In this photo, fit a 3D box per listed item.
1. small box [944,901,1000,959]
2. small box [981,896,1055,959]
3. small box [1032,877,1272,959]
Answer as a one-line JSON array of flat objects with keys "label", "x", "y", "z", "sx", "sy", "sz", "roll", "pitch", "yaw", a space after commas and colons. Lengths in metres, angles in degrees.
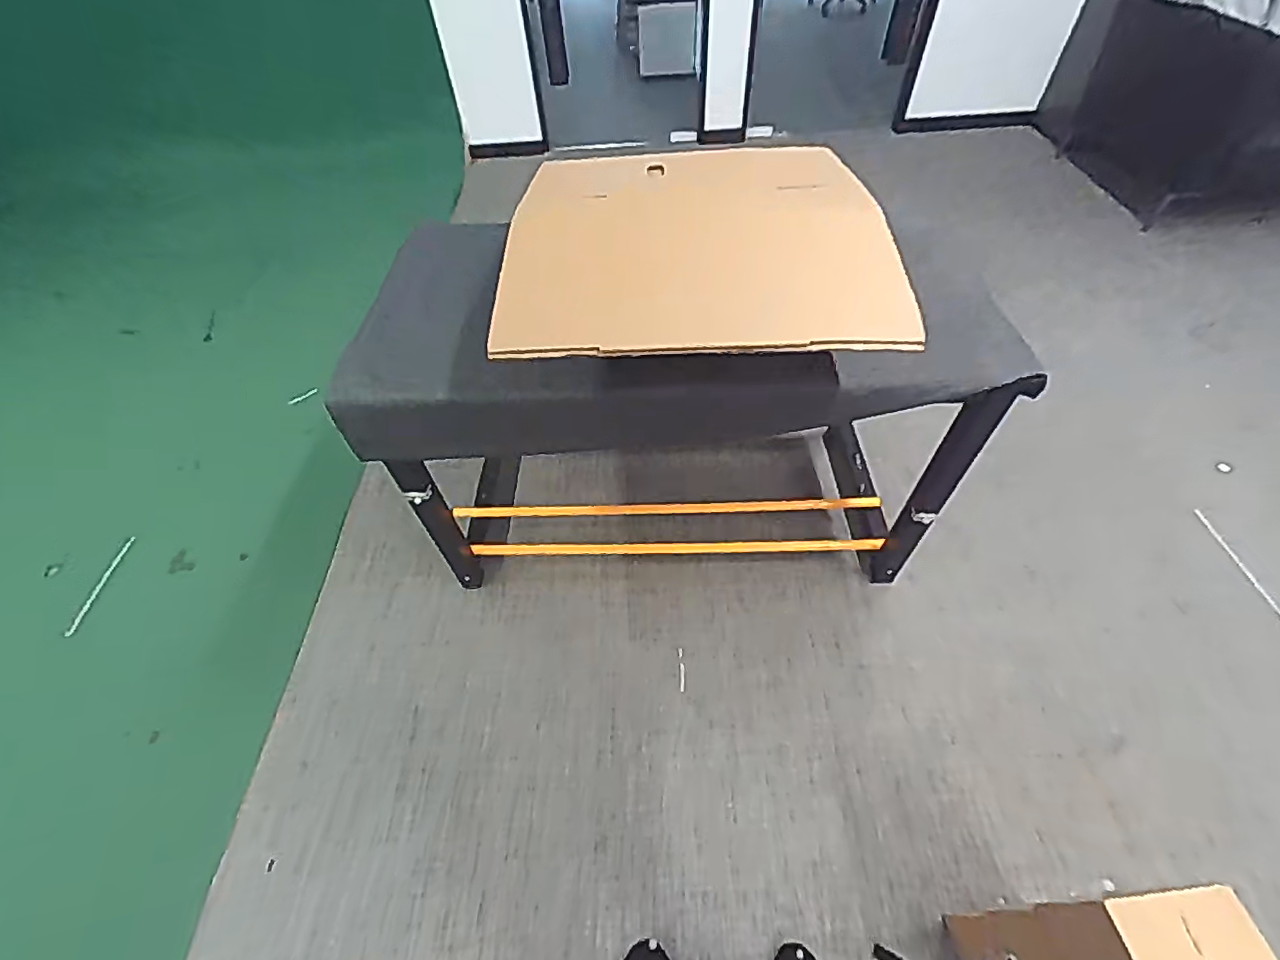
[{"label": "small box", "x": 0.662, "y": 0.834, "z": 0.928, "sx": 0.168, "sy": 0.176, "sz": 0.179, "roll": -6, "pitch": 51, "yaw": -2}, {"label": "small box", "x": 0.661, "y": 0.724, "z": 0.807, "sx": 0.179, "sy": 0.176, "sz": 0.168, "roll": -7, "pitch": 51, "yaw": -2}, {"label": "small box", "x": 0.653, "y": 0.619, "z": 0.680, "sx": 0.168, "sy": 0.176, "sz": 0.179, "roll": -5, "pitch": 50, "yaw": -2}]
